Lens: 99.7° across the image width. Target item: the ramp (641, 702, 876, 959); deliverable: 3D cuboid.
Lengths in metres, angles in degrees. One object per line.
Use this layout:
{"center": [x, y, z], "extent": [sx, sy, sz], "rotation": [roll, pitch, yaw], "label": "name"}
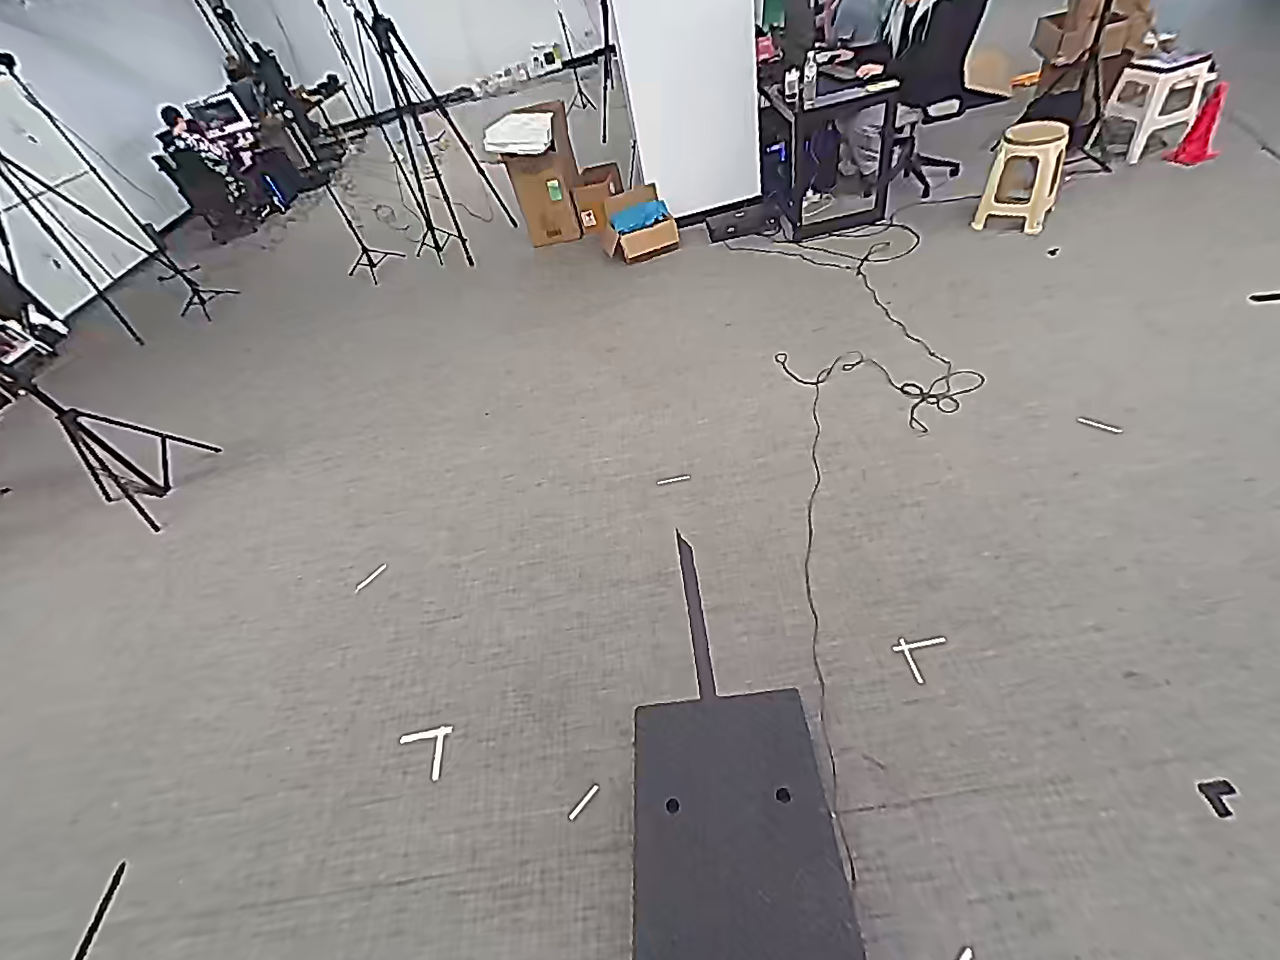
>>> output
{"center": [0.244, 0.979, 1.200], "extent": [0.509, 0.206, 0.991], "rotation": [-13, 43, 6], "label": "ramp"}
